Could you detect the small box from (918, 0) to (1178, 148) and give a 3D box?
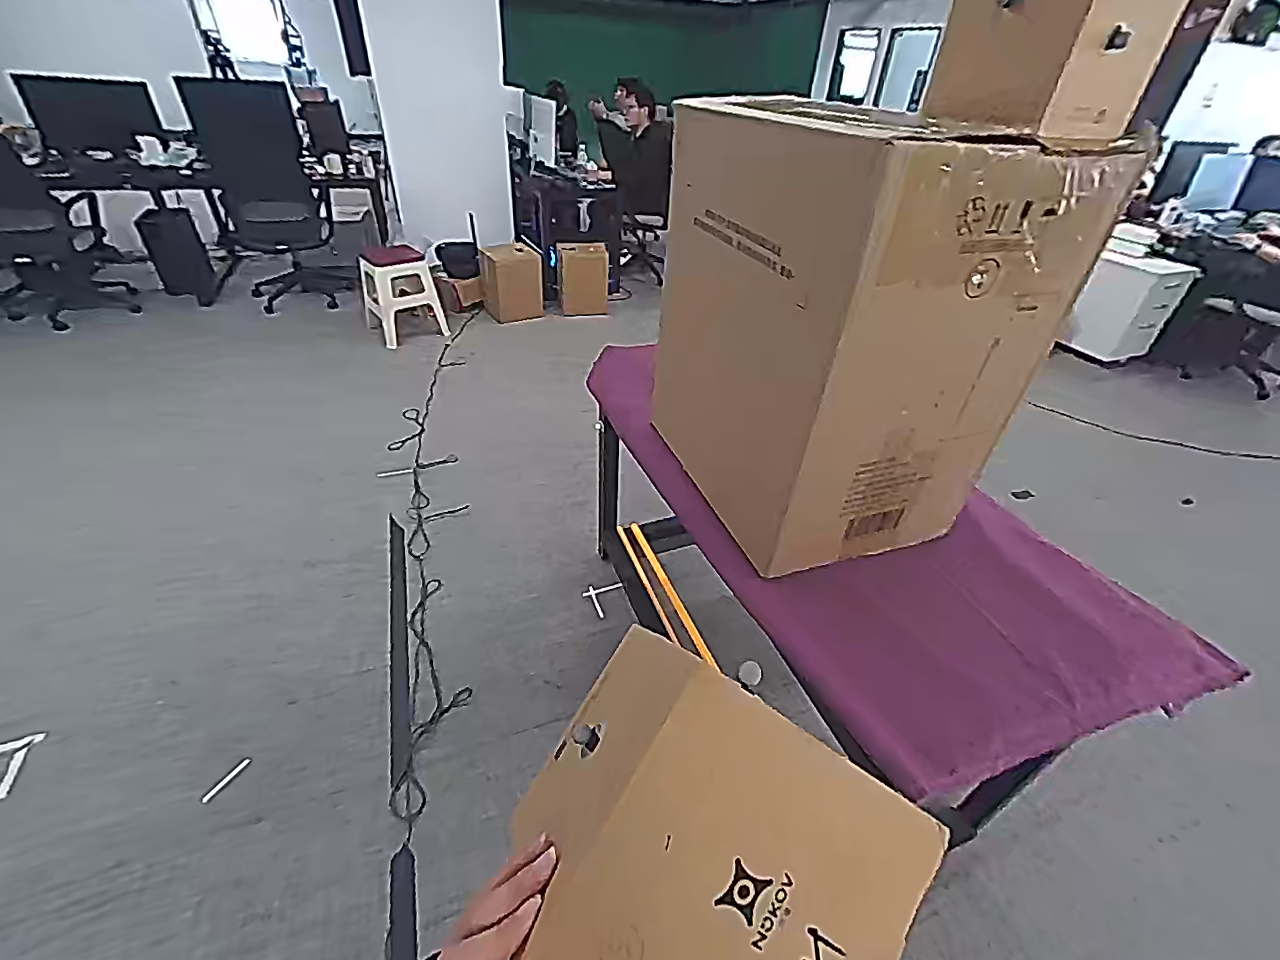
[{"bbox_3d":[0.481,-0.503,0.649,0.168,0.176,0.179,-13,39,-22],"label":"small box"}]

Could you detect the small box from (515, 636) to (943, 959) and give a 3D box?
[{"bbox_3d":[0.037,0.218,0.347,0.179,0.176,0.168,36,76,-6],"label":"small box"}]
